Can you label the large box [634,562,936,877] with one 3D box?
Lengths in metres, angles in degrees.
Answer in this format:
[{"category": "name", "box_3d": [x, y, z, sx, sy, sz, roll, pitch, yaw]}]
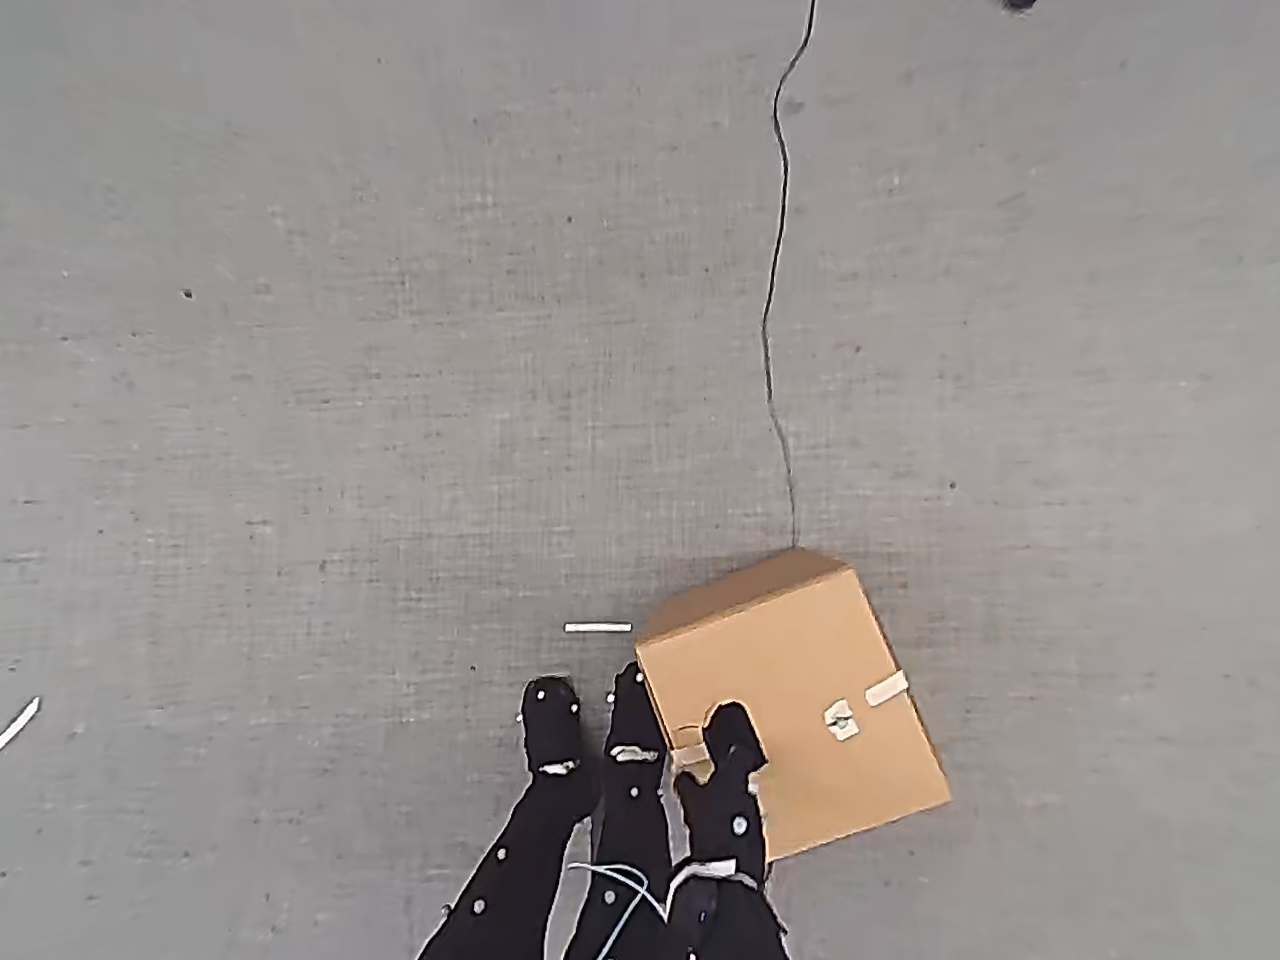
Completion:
[{"category": "large box", "box_3d": [0.213, 0.343, 0.901, 0.320, 0.408, 0.320, -22, 83, 6]}]
